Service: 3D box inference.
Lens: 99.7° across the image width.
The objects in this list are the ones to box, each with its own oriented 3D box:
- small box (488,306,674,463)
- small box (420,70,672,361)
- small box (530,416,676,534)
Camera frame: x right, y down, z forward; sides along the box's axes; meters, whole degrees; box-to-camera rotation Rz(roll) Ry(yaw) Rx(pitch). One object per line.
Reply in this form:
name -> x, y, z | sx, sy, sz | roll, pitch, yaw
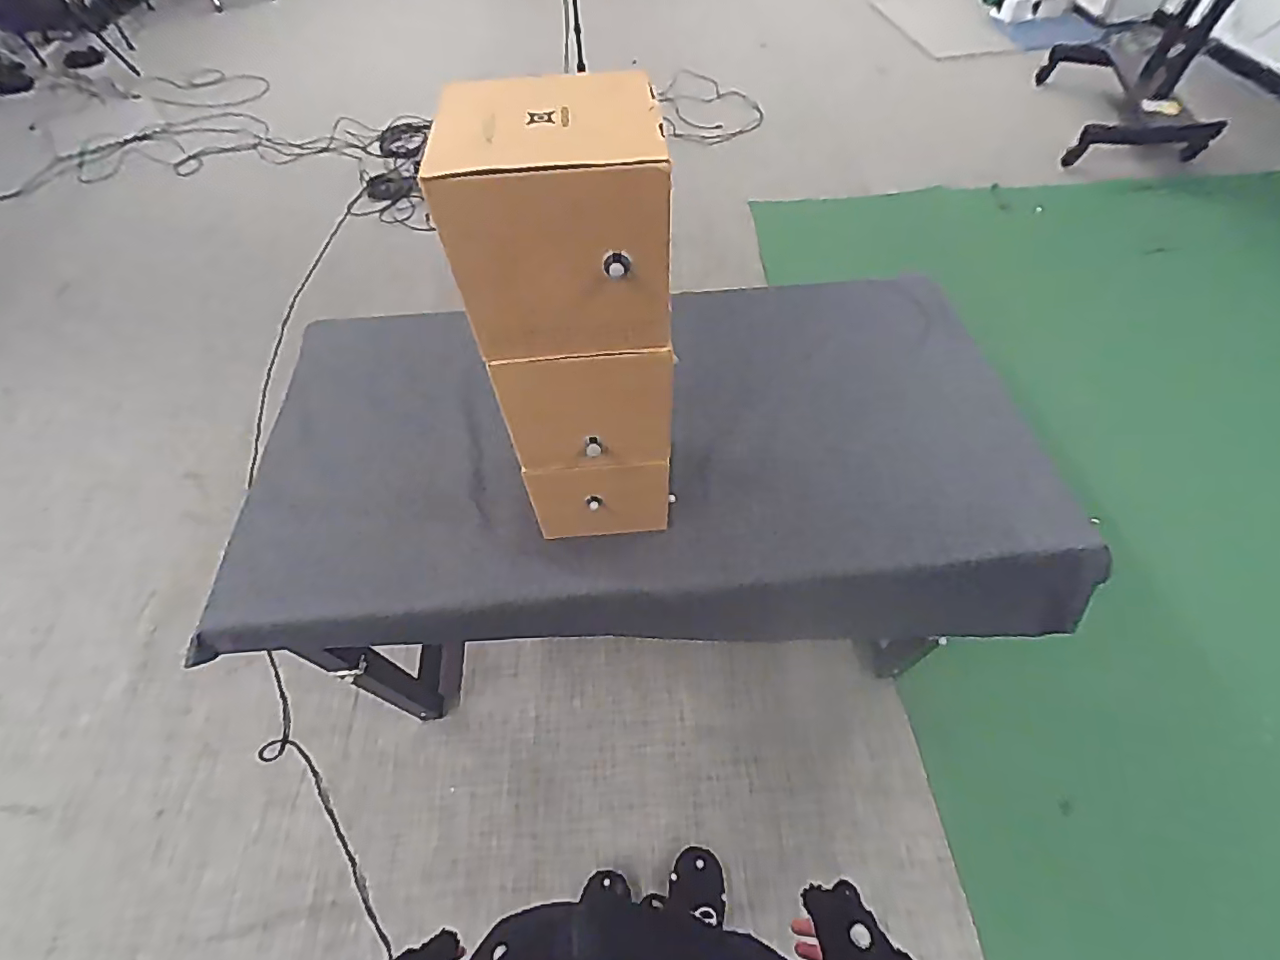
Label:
small box -> -0.059, -0.133, 0.613 | 0.179, 0.176, 0.168 | -4, 56, -1
small box -> -0.068, -0.226, 0.480 | 0.179, 0.176, 0.168 | -6, 55, -1
small box -> -0.052, -0.040, 0.747 | 0.179, 0.176, 0.168 | -6, 57, -3
